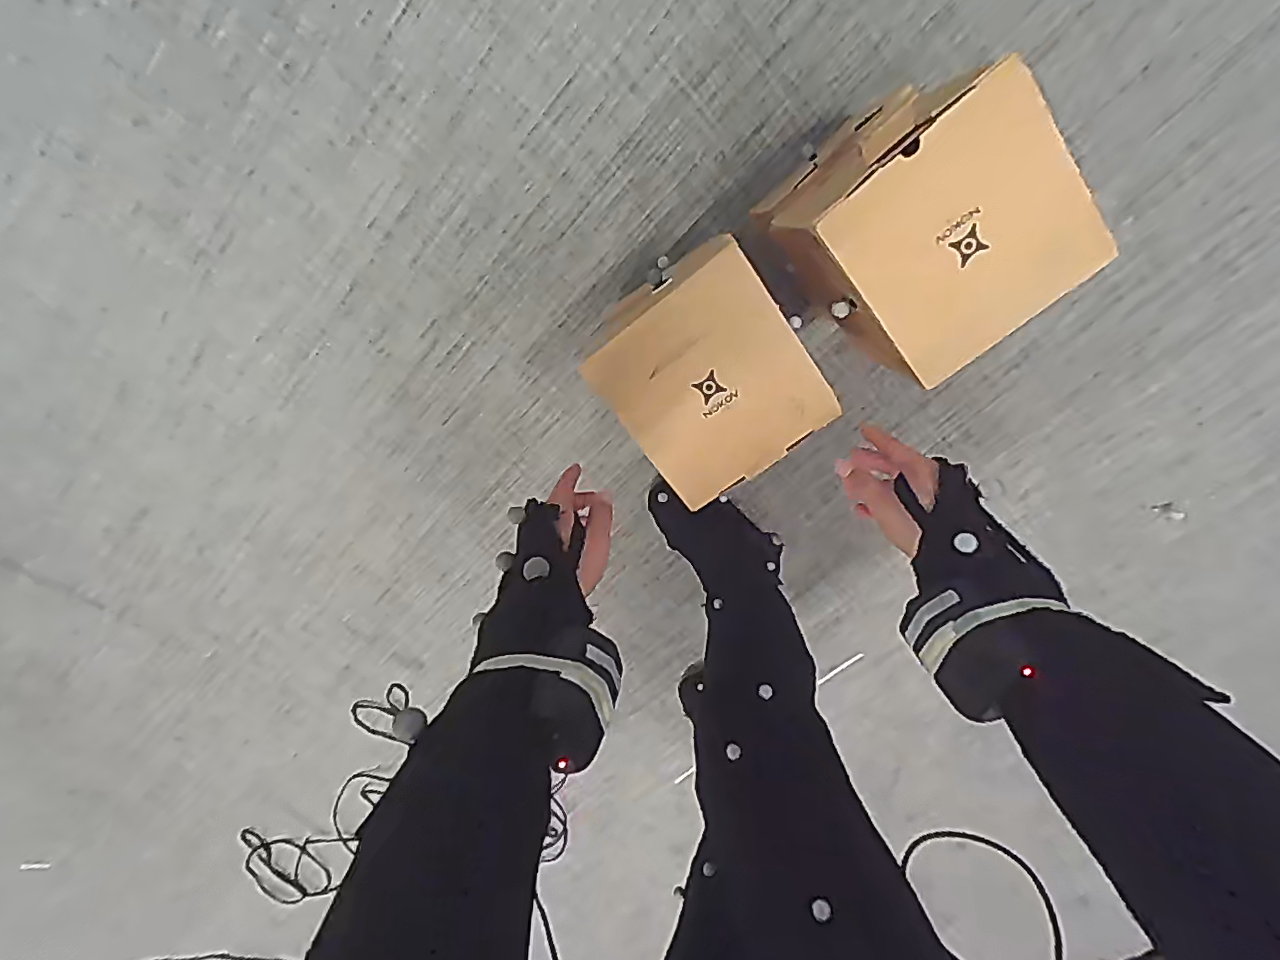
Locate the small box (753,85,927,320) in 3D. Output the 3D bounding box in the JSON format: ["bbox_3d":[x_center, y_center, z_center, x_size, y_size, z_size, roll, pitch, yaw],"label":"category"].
[{"bbox_3d":[0.253,-0.297,0.628,0.168,0.176,0.179,-39,107,16],"label":"small box"}]

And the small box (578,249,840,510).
[{"bbox_3d":[0.064,-0.108,0.539,0.168,0.176,0.179,-35,107,14],"label":"small box"}]

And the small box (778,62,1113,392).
[{"bbox_3d":[0.251,-0.214,0.486,0.168,0.176,0.179,-39,107,17],"label":"small box"}]
